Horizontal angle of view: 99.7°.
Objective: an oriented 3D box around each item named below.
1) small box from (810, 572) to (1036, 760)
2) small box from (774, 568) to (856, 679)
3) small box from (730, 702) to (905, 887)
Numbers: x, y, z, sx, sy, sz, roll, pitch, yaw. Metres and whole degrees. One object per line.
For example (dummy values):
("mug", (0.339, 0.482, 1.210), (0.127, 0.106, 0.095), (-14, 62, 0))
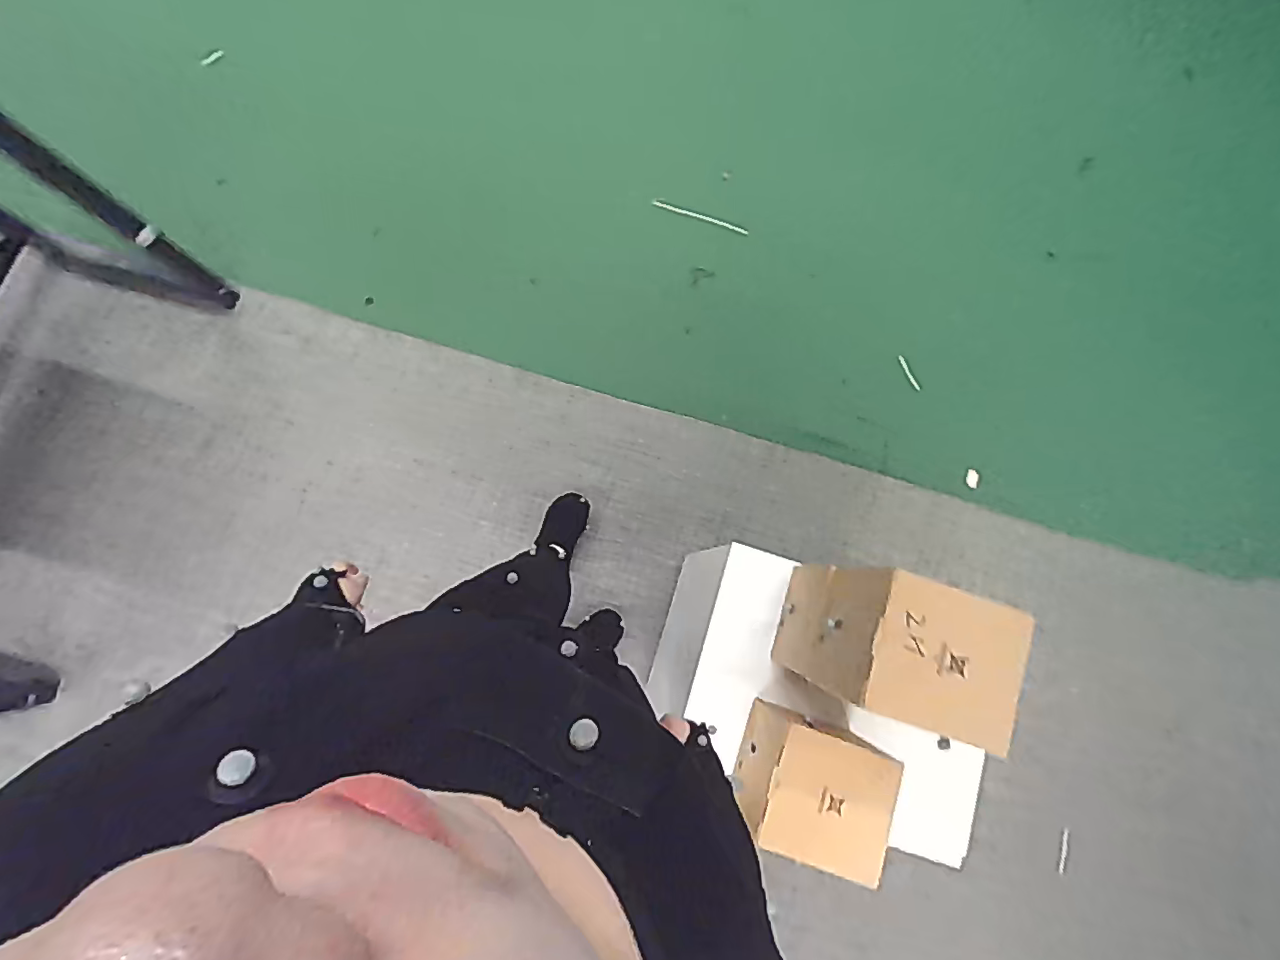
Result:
("small box", (0.348, 0.221, 0.693), (0.179, 0.176, 0.168), (20, 80, 0))
("small box", (0.336, 0.242, 0.855), (0.179, 0.176, 0.168), (19, 80, 0))
("small box", (0.256, 0.456, 0.815), (0.179, 0.176, 0.168), (20, 79, 0))
